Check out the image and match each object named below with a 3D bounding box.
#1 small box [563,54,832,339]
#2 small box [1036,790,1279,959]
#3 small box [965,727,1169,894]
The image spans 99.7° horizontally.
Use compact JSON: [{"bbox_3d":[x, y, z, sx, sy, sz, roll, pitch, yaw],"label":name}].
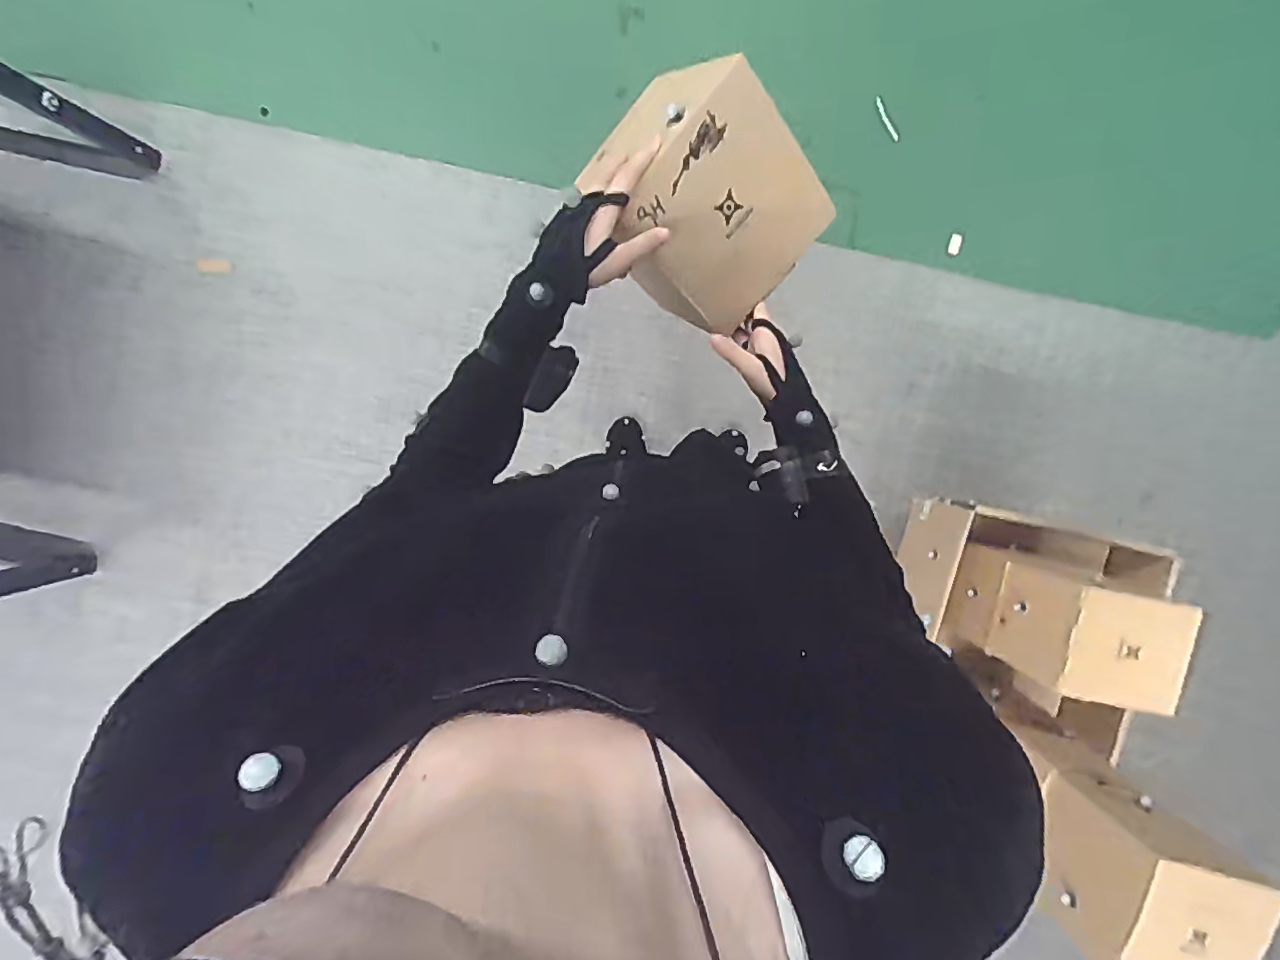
[{"bbox_3d":[0.051,-0.279,0.553,0.179,0.176,0.168,35,99,-35],"label":"small box"},{"bbox_3d":[0.660,0.548,0.695,0.168,0.176,0.179,17,94,0],"label":"small box"},{"bbox_3d":[0.657,0.529,0.858,0.168,0.176,0.179,17,95,1],"label":"small box"}]
